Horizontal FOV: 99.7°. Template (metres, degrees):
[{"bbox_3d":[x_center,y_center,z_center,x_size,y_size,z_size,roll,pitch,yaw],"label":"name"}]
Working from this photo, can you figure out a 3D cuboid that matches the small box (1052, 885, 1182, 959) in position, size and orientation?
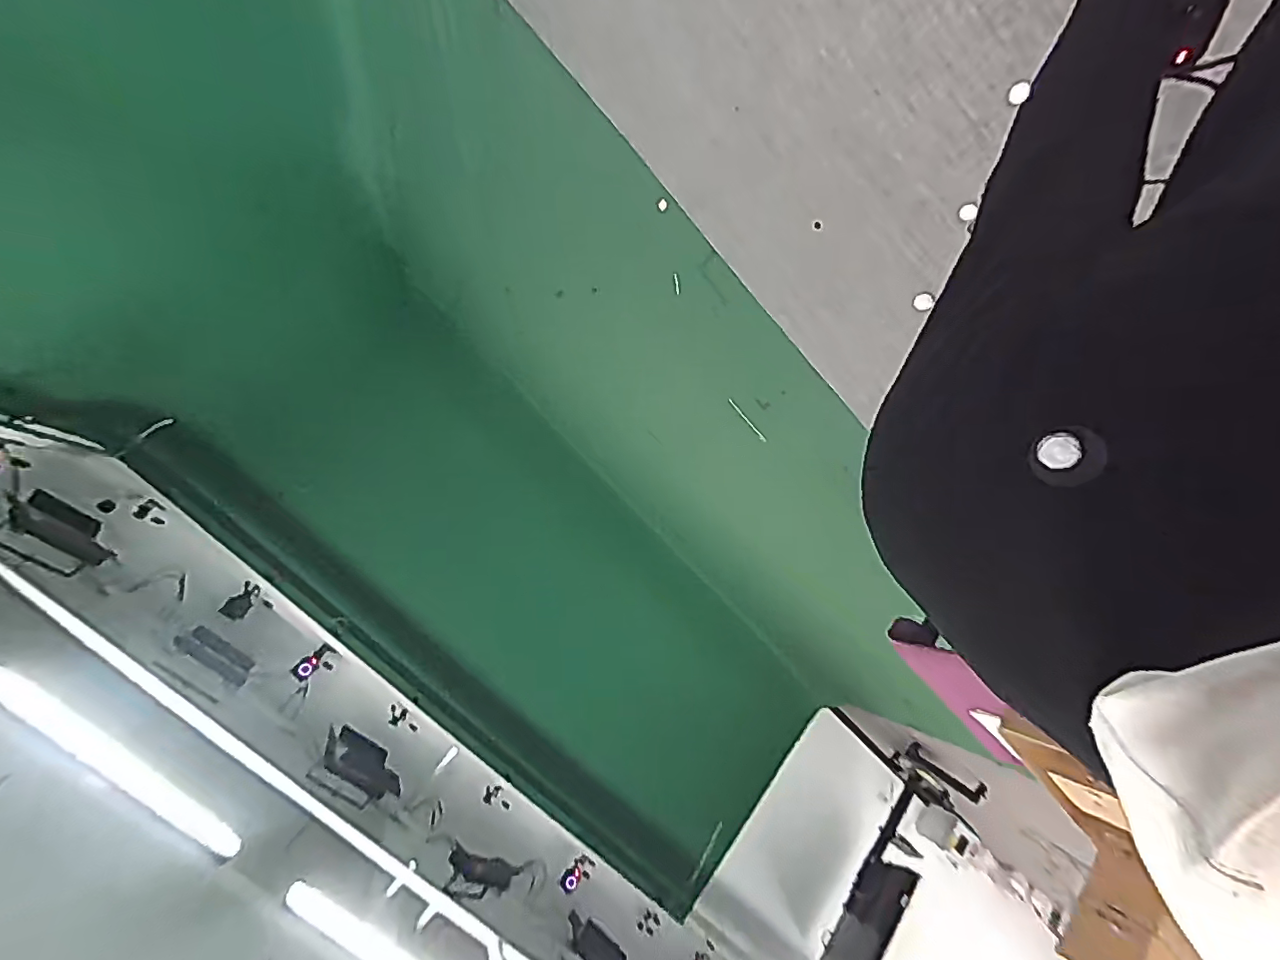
[{"bbox_3d":[1.169,1.155,1.319,0.179,0.176,0.168,48,161,-9],"label":"small box"}]

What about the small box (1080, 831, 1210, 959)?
[{"bbox_3d":[1.277,1.044,1.369,0.179,0.176,0.168,46,162,-9],"label":"small box"}]

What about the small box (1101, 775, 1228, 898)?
[{"bbox_3d":[1.379,0.925,1.419,0.179,0.176,0.168,48,161,-9],"label":"small box"}]
